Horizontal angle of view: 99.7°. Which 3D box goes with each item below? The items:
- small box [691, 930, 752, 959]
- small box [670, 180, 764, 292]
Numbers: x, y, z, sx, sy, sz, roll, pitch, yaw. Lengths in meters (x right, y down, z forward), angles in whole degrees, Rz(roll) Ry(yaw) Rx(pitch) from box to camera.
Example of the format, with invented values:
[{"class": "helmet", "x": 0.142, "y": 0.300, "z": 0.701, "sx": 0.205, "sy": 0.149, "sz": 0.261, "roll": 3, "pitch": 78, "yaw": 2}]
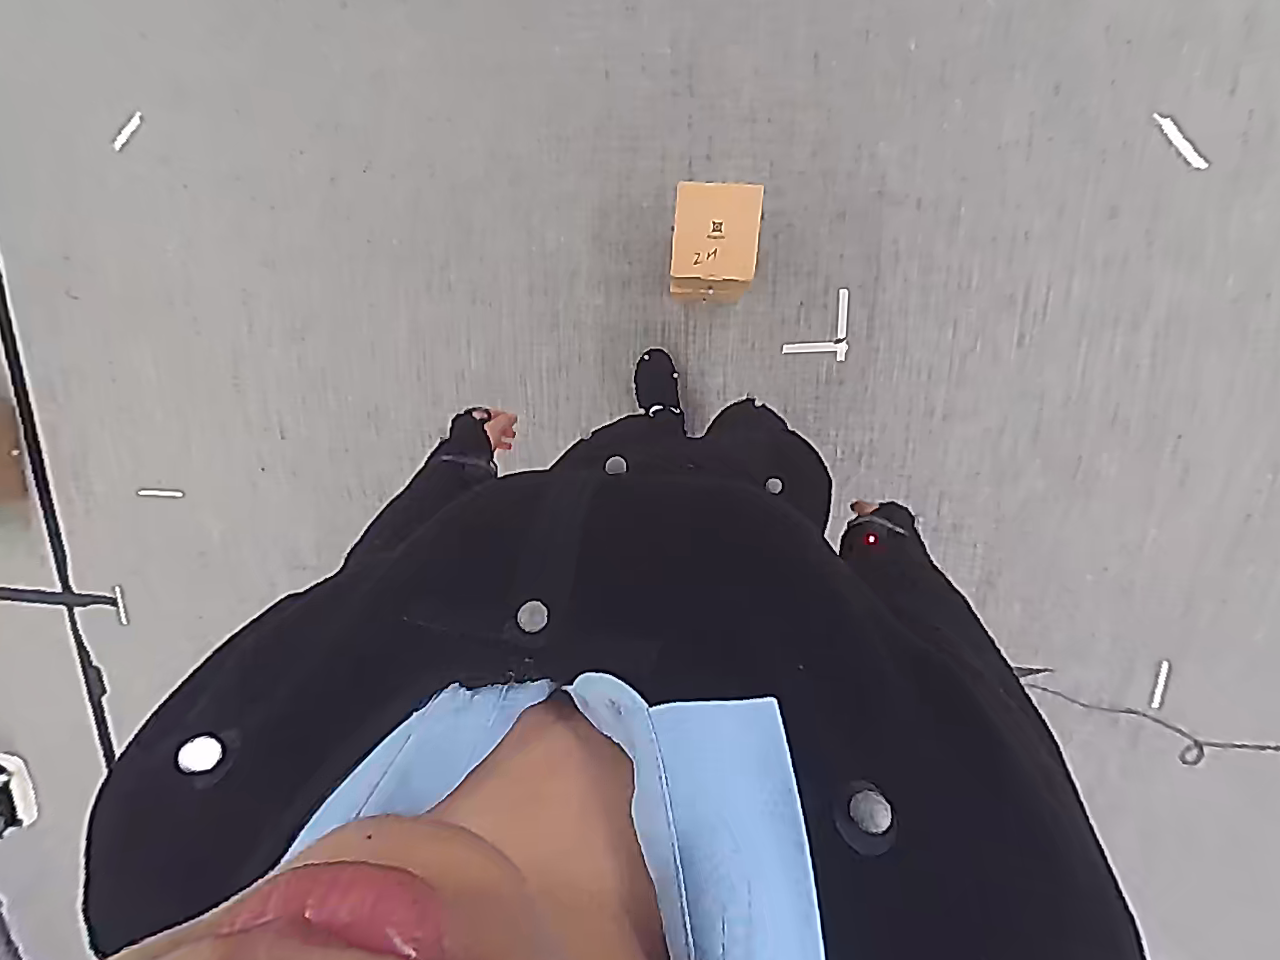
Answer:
[{"class": "small box", "x": 0.228, "y": 1.394, "z": 1.482, "sx": 0.168, "sy": 0.176, "sz": 0.179, "roll": -4, "pitch": 101, "yaw": 8}, {"class": "small box", "x": 0.155, "y": -0.495, "z": 1.117, "sx": 0.168, "sy": 0.176, "sz": 0.179, "roll": 6, "pitch": 103, "yaw": 7}]
